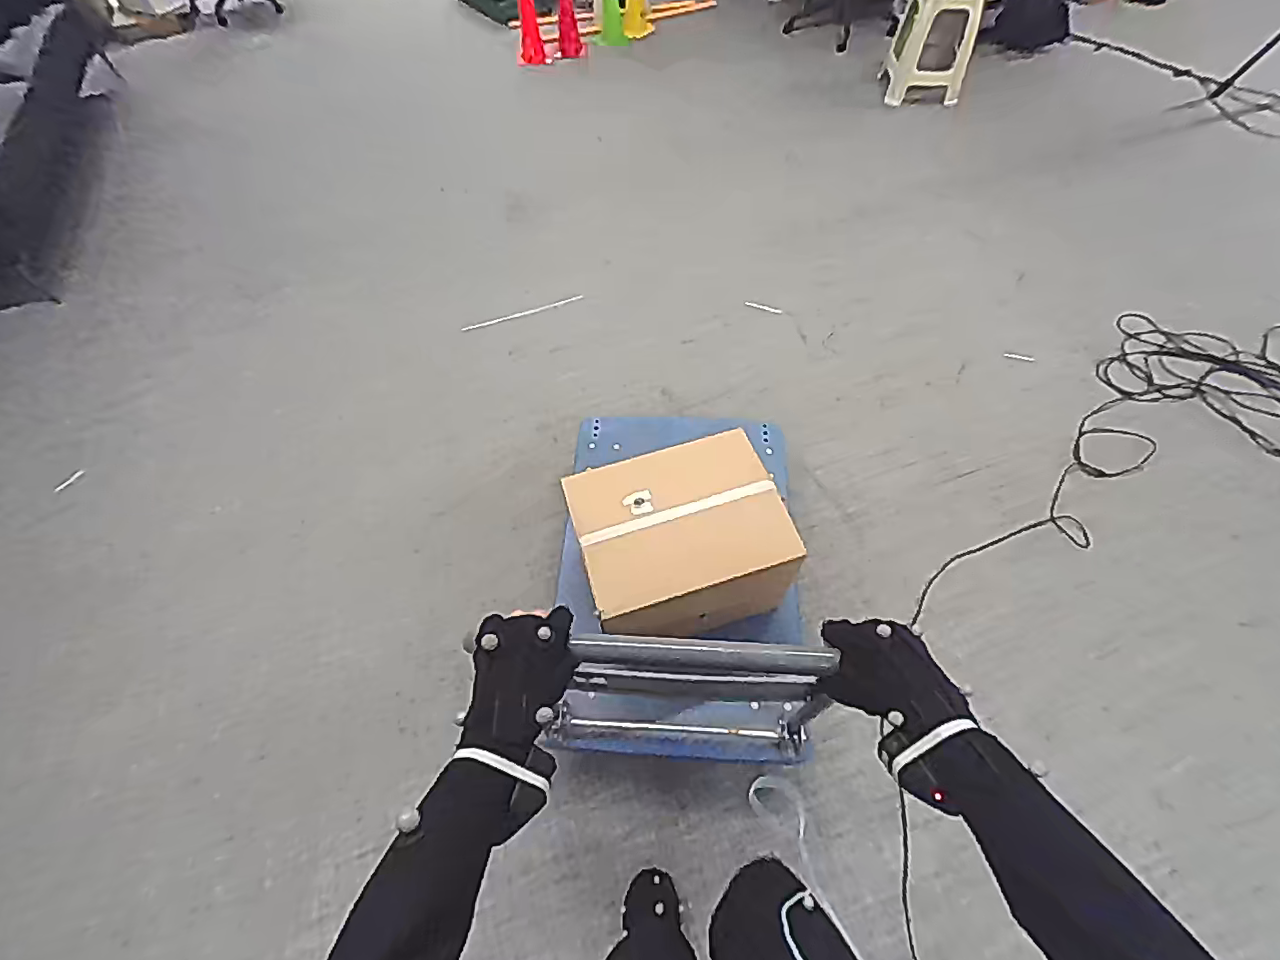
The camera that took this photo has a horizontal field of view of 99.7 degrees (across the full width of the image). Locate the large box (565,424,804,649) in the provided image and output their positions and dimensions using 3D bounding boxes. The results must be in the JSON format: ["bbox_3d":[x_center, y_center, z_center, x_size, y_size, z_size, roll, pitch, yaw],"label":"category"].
[{"bbox_3d":[0.086,0.134,1.194,0.408,0.320,0.320,-17,59,-6],"label":"large box"}]
